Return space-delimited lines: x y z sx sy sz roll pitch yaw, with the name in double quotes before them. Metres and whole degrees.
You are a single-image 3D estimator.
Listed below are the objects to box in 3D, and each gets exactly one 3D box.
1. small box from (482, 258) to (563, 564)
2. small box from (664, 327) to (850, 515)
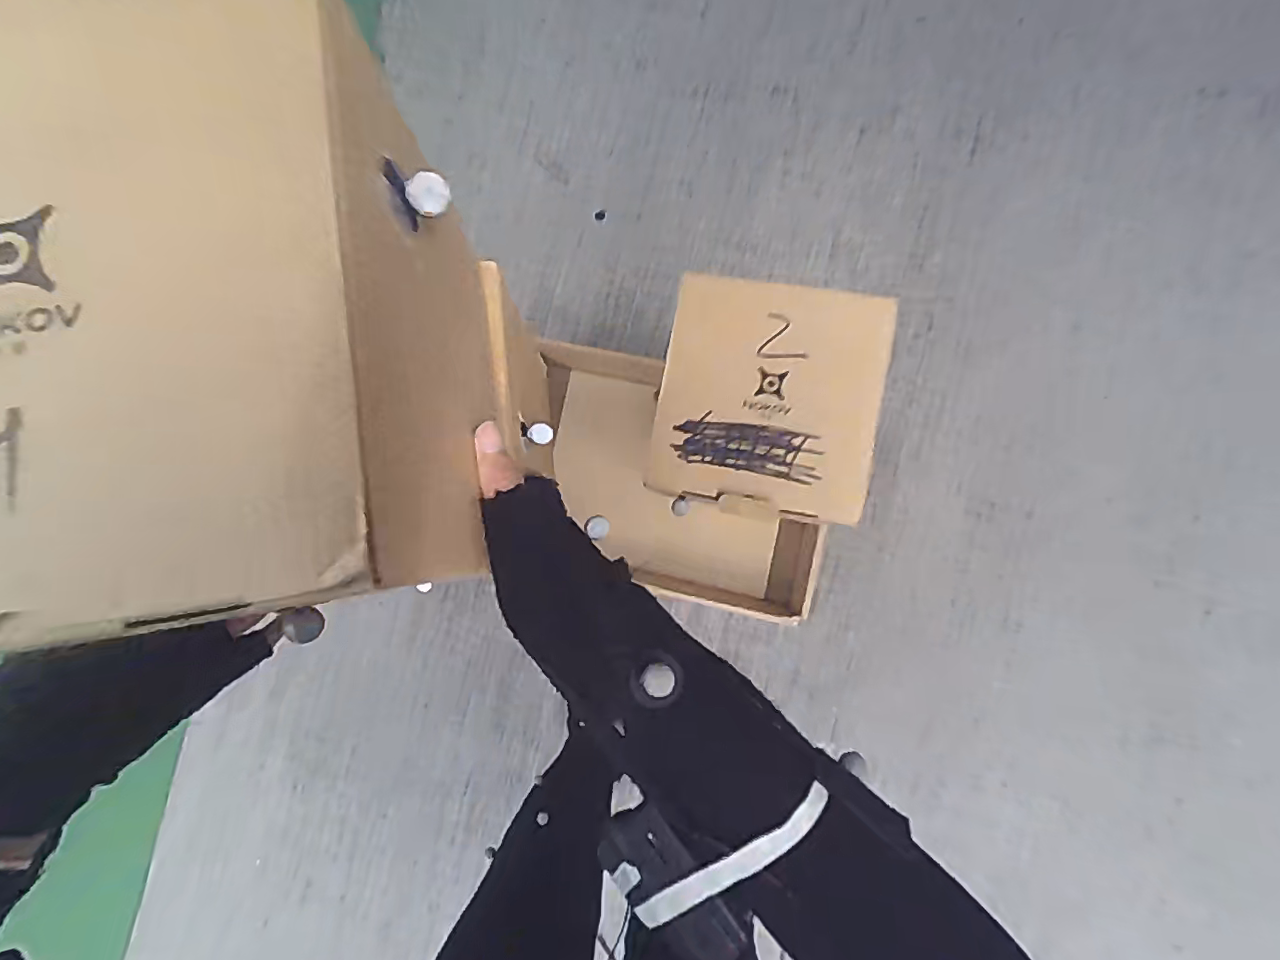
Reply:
"small box" -0.147 -0.025 0.373 0.168 0.176 0.179 -6 84 -3
"small box" 0.134 -0.060 0.655 0.168 0.176 0.179 13 88 7
